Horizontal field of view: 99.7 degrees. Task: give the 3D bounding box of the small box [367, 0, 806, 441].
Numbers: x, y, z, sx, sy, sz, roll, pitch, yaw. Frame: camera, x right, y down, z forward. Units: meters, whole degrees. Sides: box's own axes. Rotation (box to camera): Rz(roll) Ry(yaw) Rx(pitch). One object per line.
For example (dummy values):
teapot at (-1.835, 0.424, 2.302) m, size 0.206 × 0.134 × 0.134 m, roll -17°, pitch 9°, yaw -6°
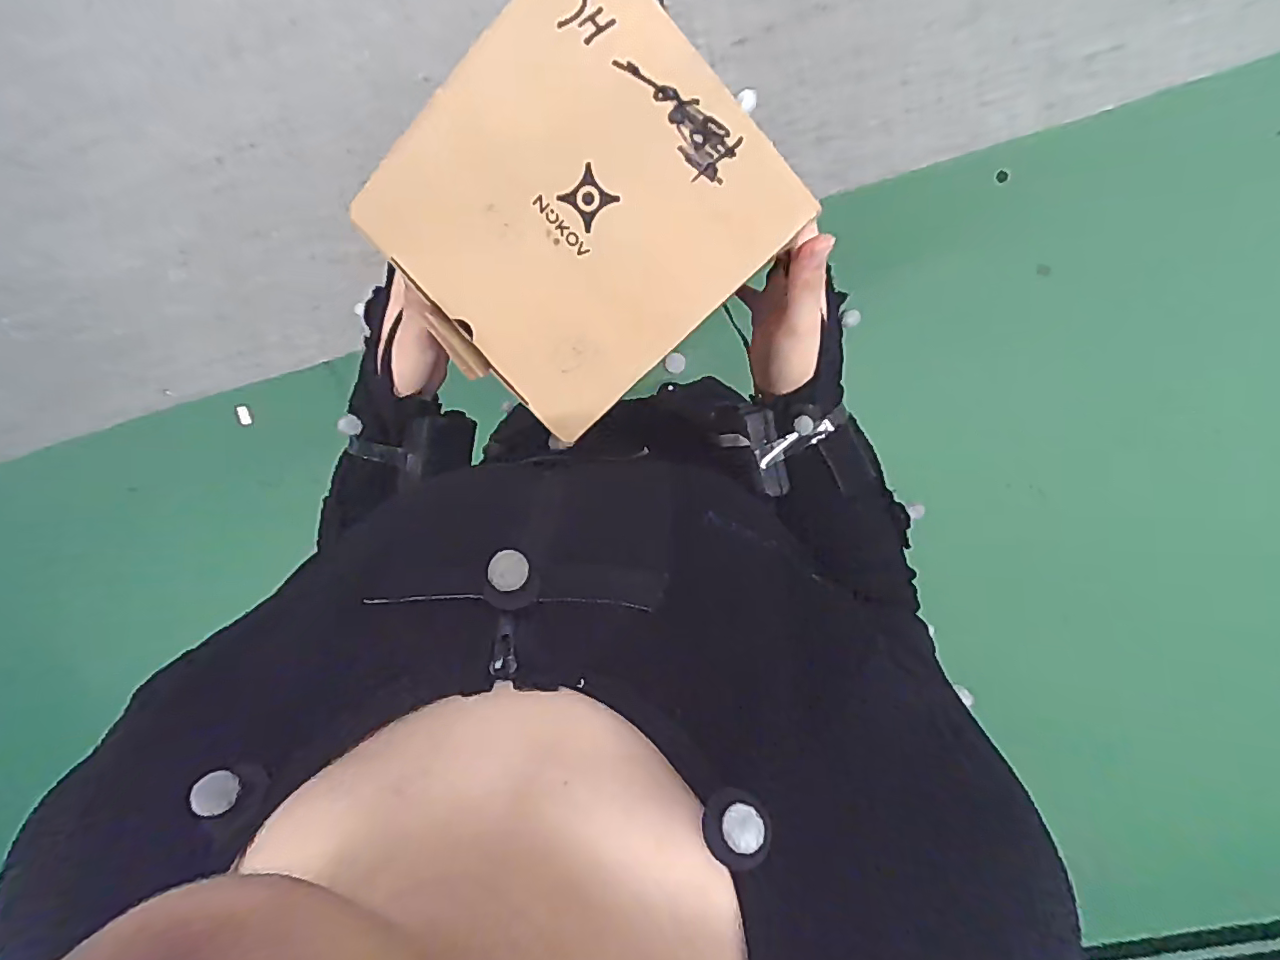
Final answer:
small box at (-0.023, -0.153, 0.353) m, size 0.179 × 0.176 × 0.168 m, roll -41°, pitch 97°, yaw 14°
